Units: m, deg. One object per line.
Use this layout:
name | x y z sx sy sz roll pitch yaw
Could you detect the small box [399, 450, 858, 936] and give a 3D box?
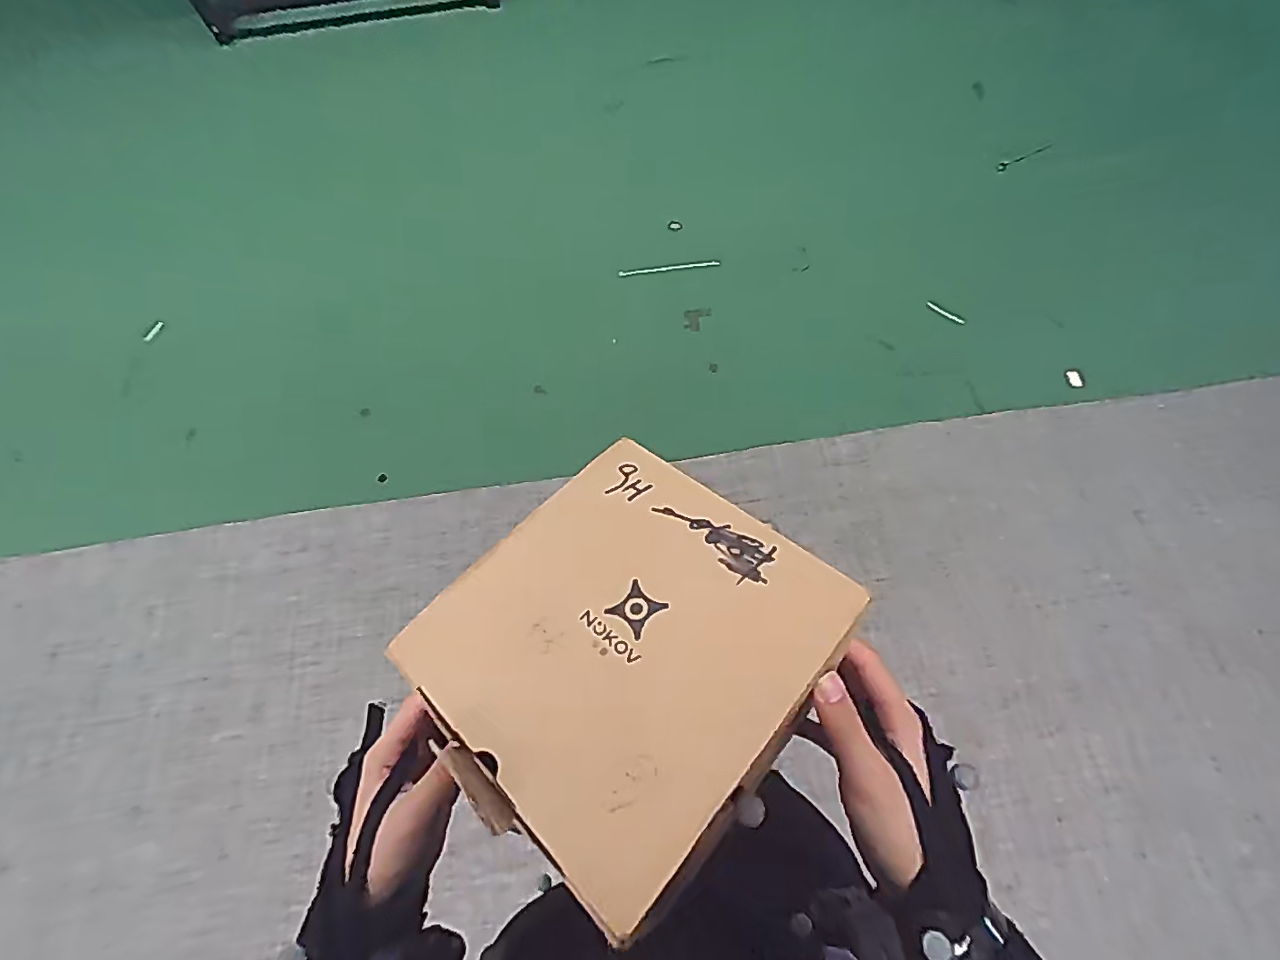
small box | 0.002 0.122 0.330 0.168 0.176 0.179 33 64 28
